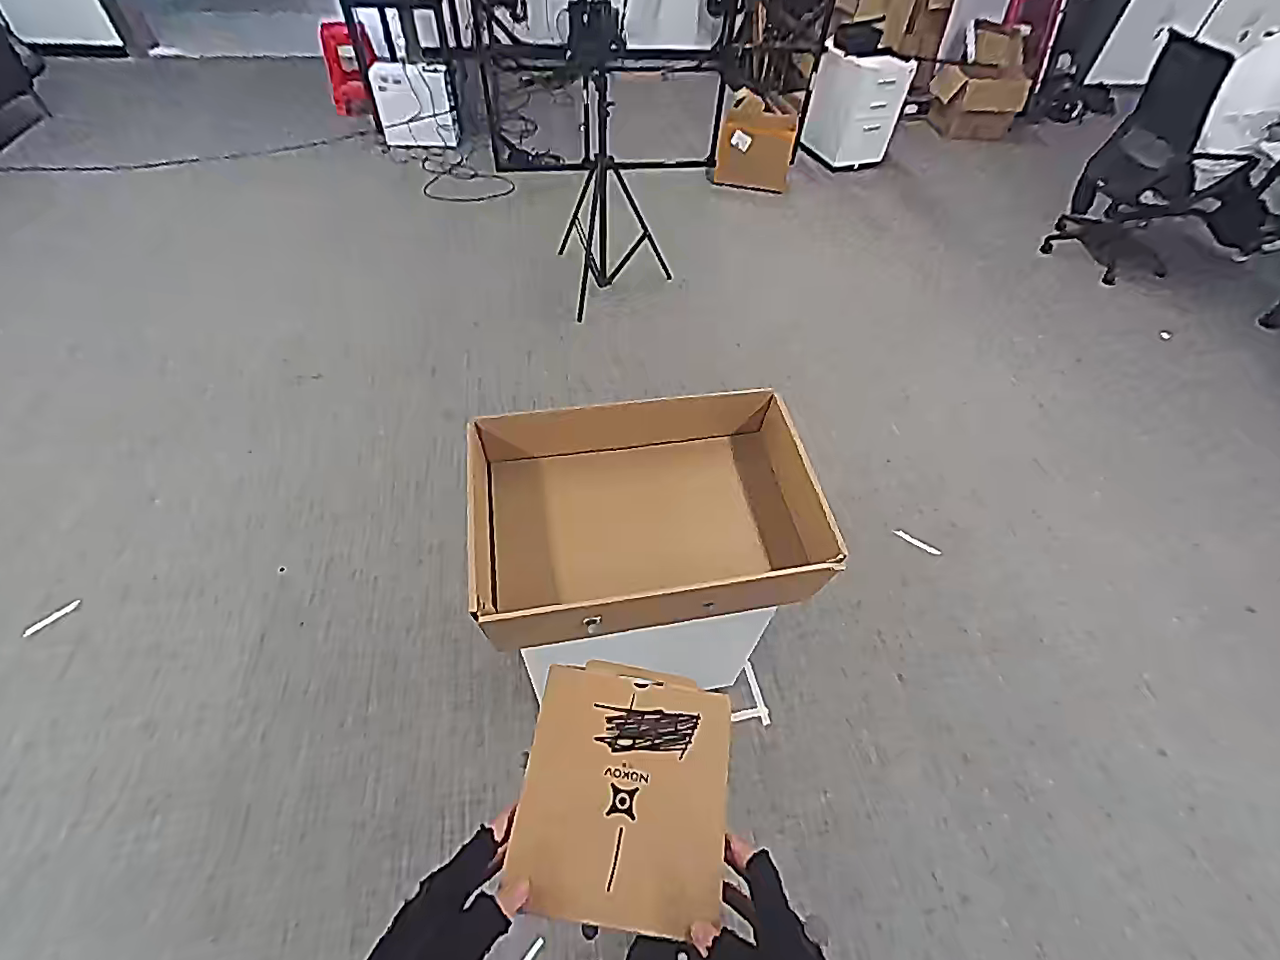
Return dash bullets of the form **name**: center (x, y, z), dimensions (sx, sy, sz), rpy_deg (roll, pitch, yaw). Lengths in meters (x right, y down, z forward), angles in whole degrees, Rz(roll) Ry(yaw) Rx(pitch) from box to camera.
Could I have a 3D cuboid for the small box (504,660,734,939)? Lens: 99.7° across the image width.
- **small box**: center (-0.016, 0.290, 0.499), dimensions (0.168, 0.176, 0.179), rpy_deg (10, 54, 0)
